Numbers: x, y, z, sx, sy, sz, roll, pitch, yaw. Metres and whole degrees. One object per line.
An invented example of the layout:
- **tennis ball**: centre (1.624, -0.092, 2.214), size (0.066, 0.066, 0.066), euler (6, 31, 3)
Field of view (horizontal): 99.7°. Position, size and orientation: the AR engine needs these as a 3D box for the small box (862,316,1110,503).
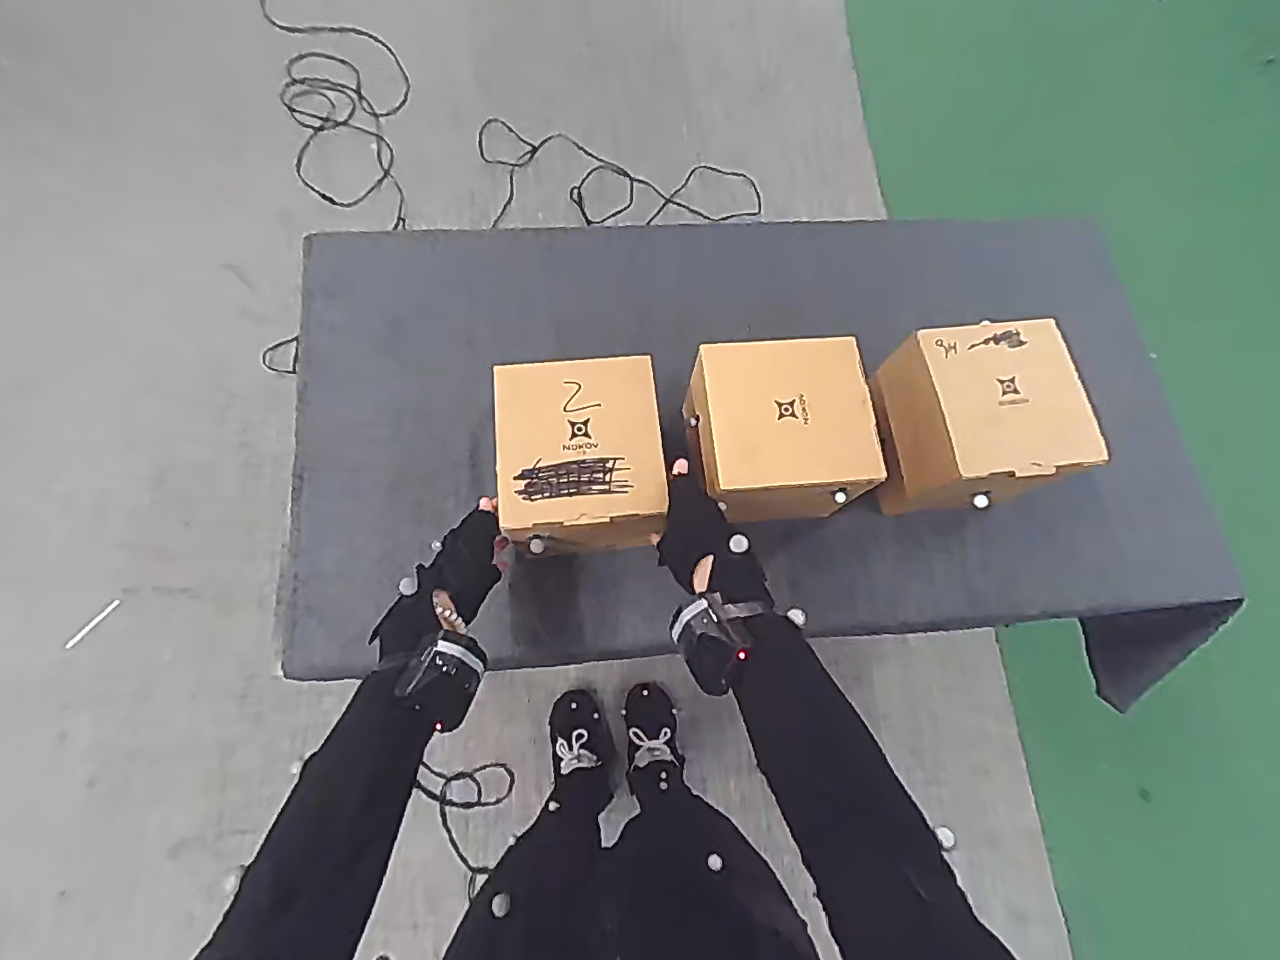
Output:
- **small box**: centre (0.394, -0.073, 0.652), size (0.168, 0.176, 0.179), euler (-5, 75, -6)
